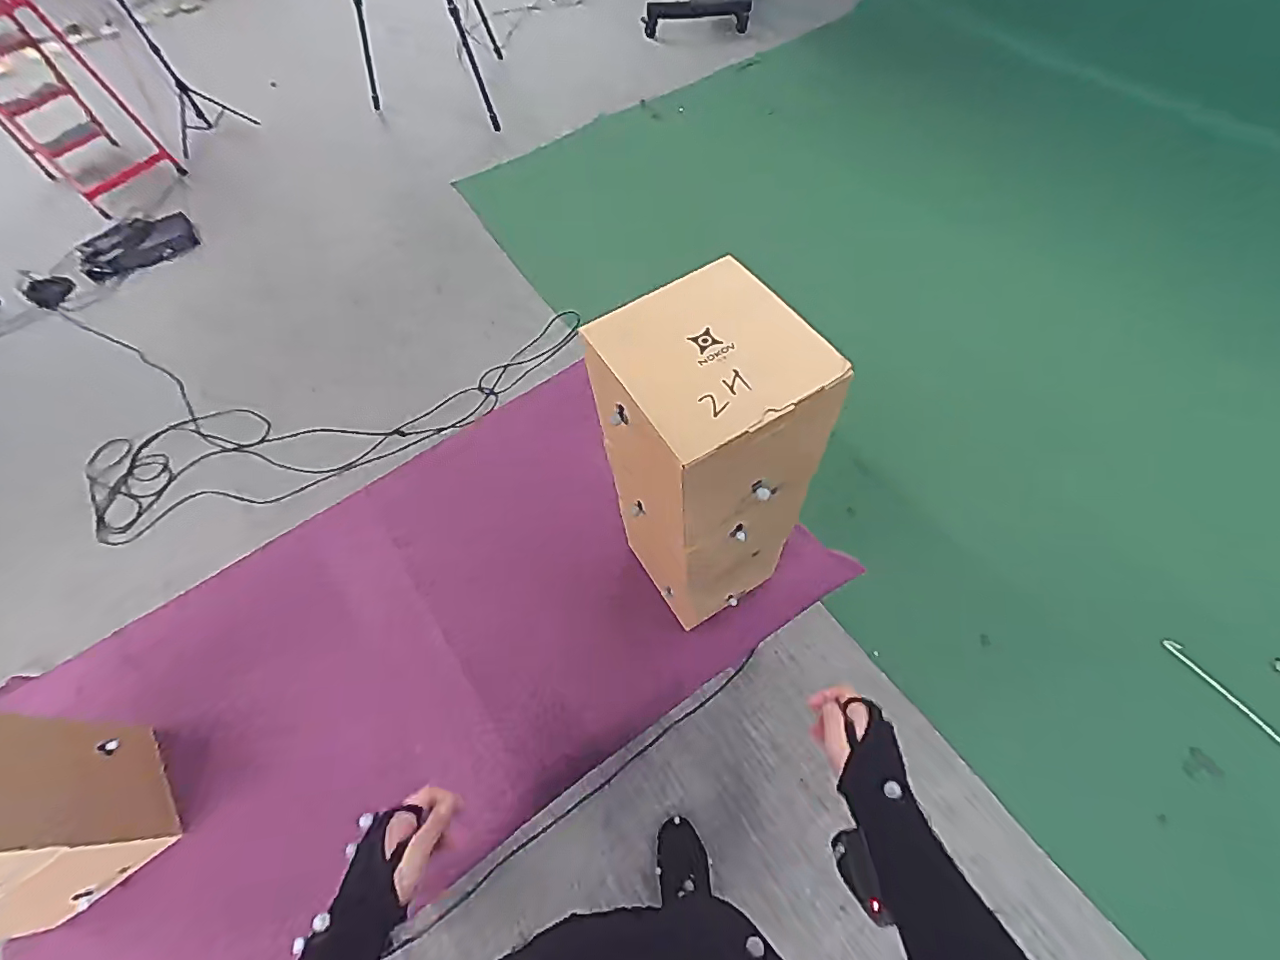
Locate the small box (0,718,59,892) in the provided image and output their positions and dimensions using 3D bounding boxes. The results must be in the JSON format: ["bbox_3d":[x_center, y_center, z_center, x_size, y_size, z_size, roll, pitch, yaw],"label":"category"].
[{"bbox_3d":[-0.761,0.356,0.545,0.168,0.176,0.179,-36,65,-14],"label":"small box"}]

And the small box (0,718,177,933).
[{"bbox_3d":[-0.750,0.437,0.687,0.168,0.176,0.179,-36,65,-15],"label":"small box"}]

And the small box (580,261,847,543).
[{"bbox_3d":[0.062,-0.069,0.527,0.168,0.176,0.179,-29,62,-10],"label":"small box"}]

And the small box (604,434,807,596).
[{"bbox_3d":[0.075,0.014,0.669,0.168,0.176,0.179,-30,61,-11],"label":"small box"}]
